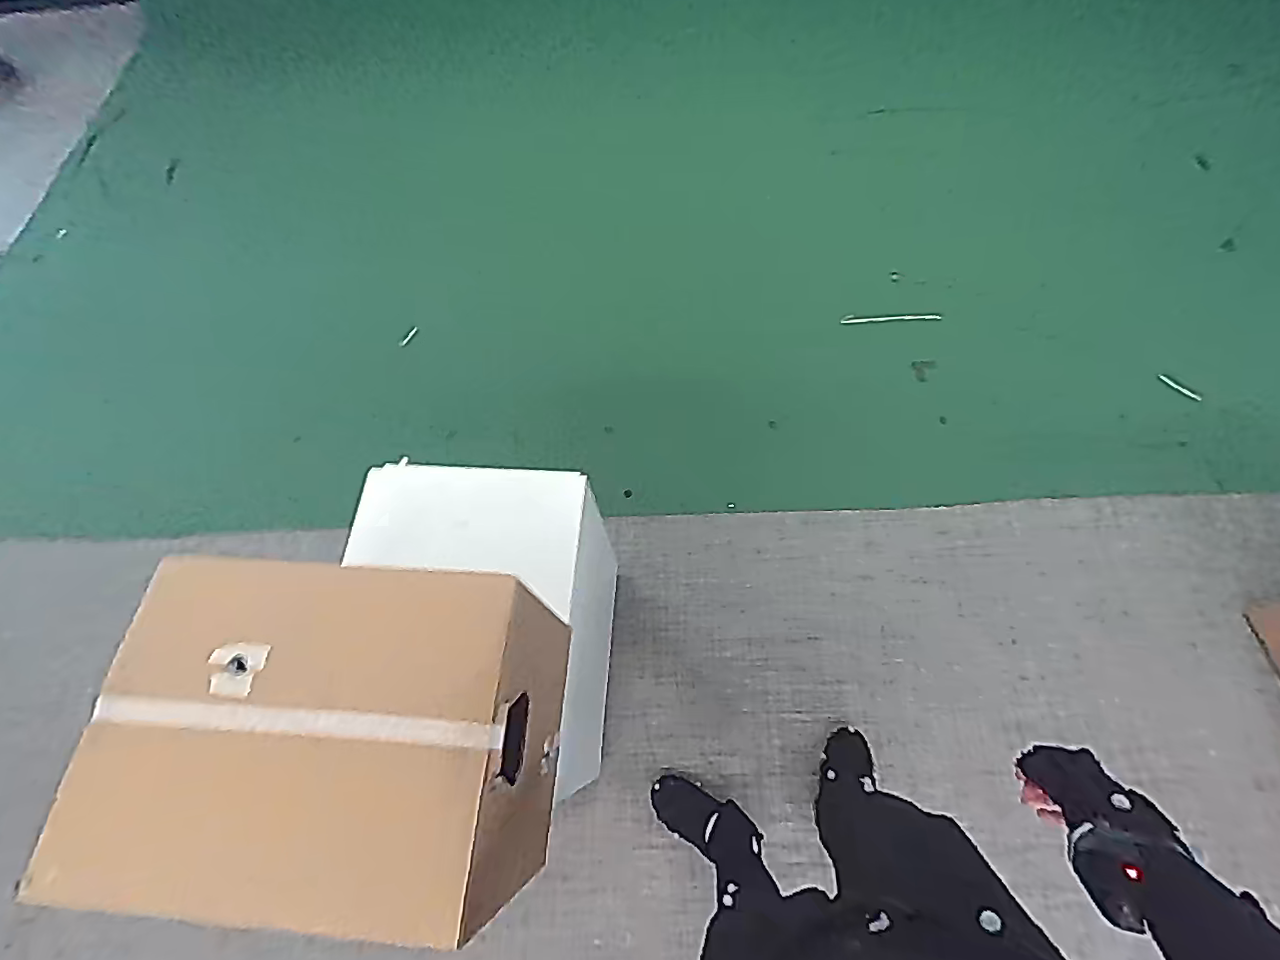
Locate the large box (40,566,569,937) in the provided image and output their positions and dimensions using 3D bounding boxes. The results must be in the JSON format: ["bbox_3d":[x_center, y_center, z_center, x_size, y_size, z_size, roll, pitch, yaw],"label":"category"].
[{"bbox_3d":[-0.323,0.296,0.661,0.408,0.320,0.320,1,65,6],"label":"large box"}]
